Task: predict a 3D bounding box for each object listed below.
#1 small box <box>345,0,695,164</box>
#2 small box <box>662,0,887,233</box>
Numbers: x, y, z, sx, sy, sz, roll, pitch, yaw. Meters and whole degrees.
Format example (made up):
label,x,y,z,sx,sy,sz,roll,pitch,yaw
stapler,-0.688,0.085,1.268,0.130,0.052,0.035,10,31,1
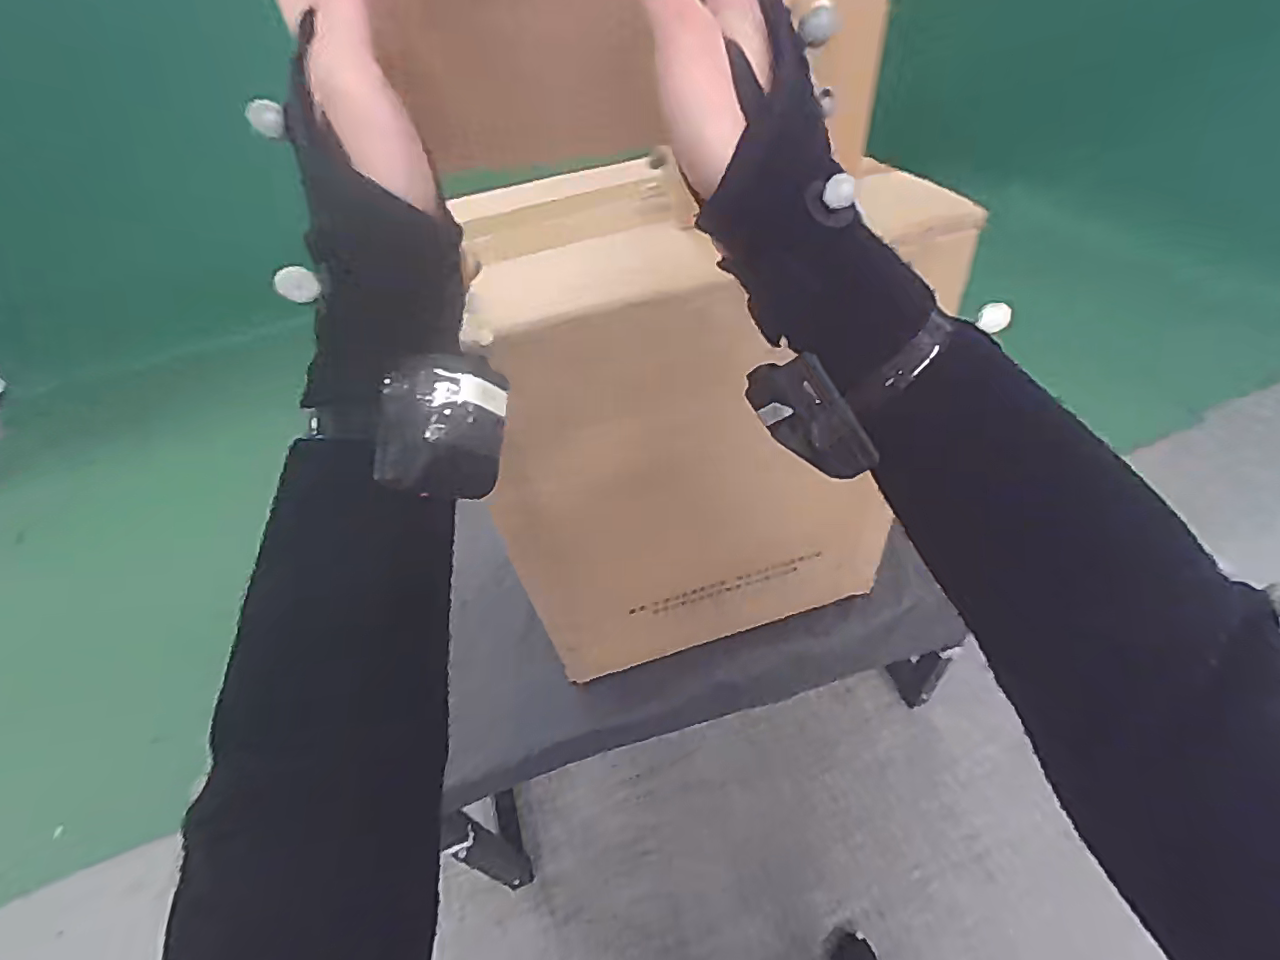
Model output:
label,x,y,z,sx,sy,sz,roll,pitch,yaw
small box,-0.062,-0.299,0.285,0.179,0.176,0.168,-3,76,4
small box,0.112,-0.369,0.536,0.179,0.176,0.168,-9,46,2
